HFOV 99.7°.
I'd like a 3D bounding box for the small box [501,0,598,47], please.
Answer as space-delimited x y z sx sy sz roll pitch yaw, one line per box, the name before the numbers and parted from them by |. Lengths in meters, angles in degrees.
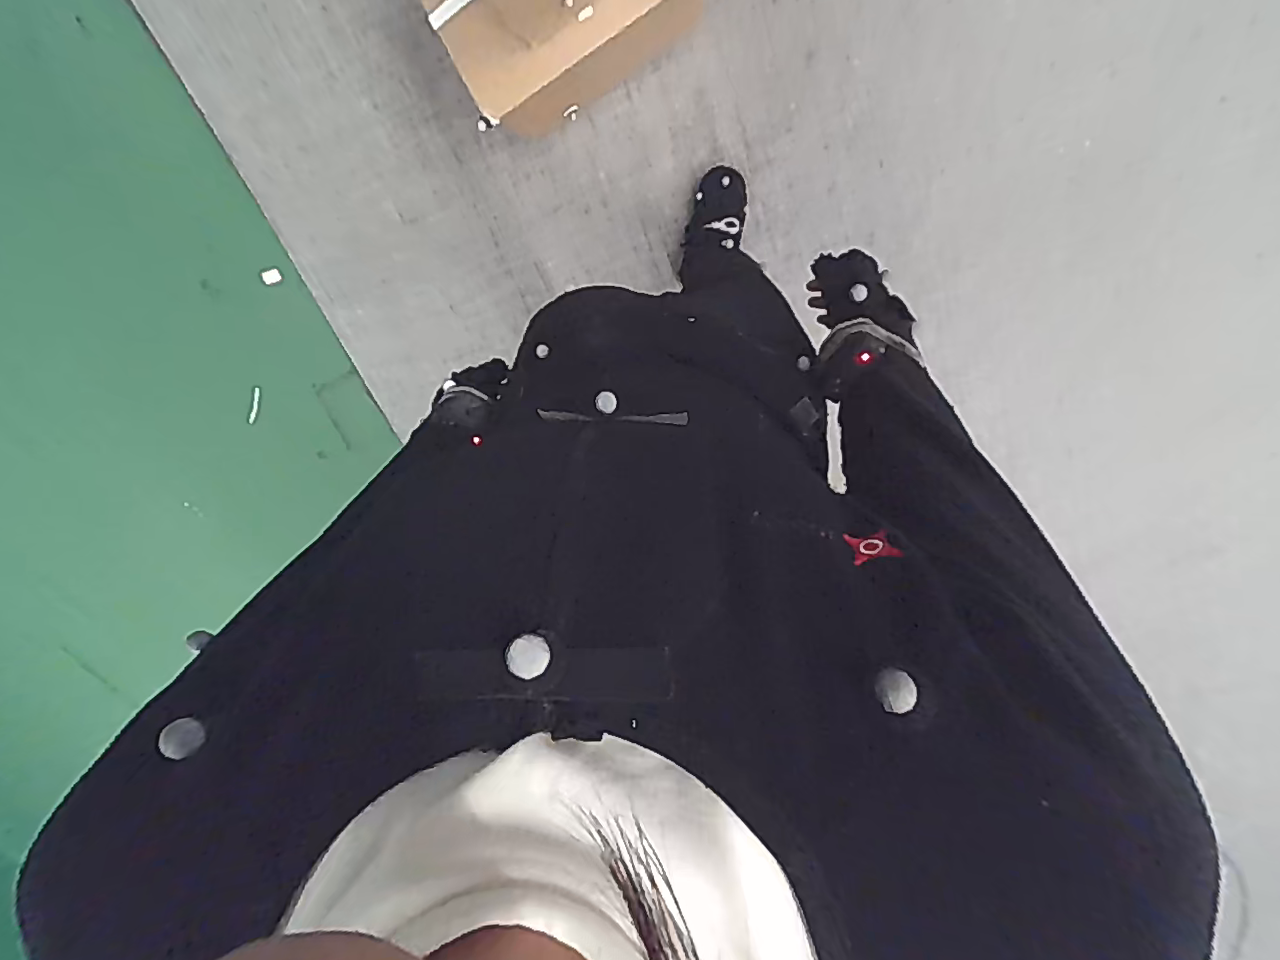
small box | -0.131 -0.726 0.710 0.179 0.176 0.168 -29 111 18
